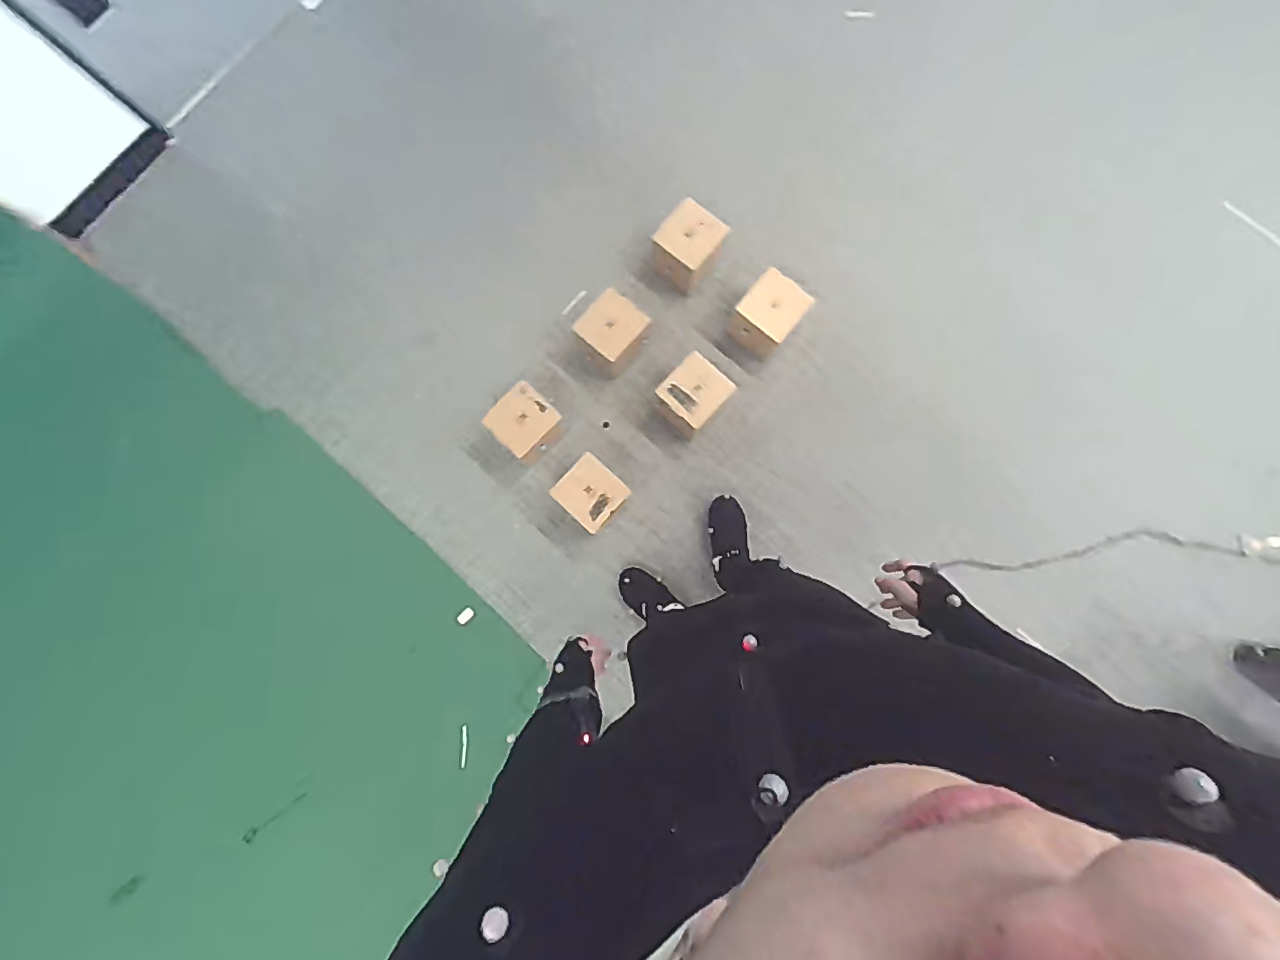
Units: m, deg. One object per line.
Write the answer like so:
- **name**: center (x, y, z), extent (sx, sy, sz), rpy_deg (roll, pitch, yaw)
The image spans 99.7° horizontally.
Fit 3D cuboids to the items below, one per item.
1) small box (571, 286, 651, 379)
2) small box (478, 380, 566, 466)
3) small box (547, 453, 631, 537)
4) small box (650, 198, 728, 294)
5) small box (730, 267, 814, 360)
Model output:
- **small box**: center (-0.084, -0.438, 1.632), extent (0.168, 0.176, 0.179), rpy_deg (41, 85, 6)
- **small box**: center (-0.338, -0.160, 1.600), extent (0.168, 0.176, 0.179), rpy_deg (44, 86, 6)
- **small box**: center (-0.139, 0.048, 1.570), extent (0.179, 0.176, 0.168), rpy_deg (42, 85, 6)
- **small box**: center (0.147, -0.710, 1.661), extent (0.168, 0.176, 0.179), rpy_deg (40, 85, 5)
- **small box**: center (0.388, -0.492, 1.633), extent (0.168, 0.176, 0.179), rpy_deg (40, 84, 6)
